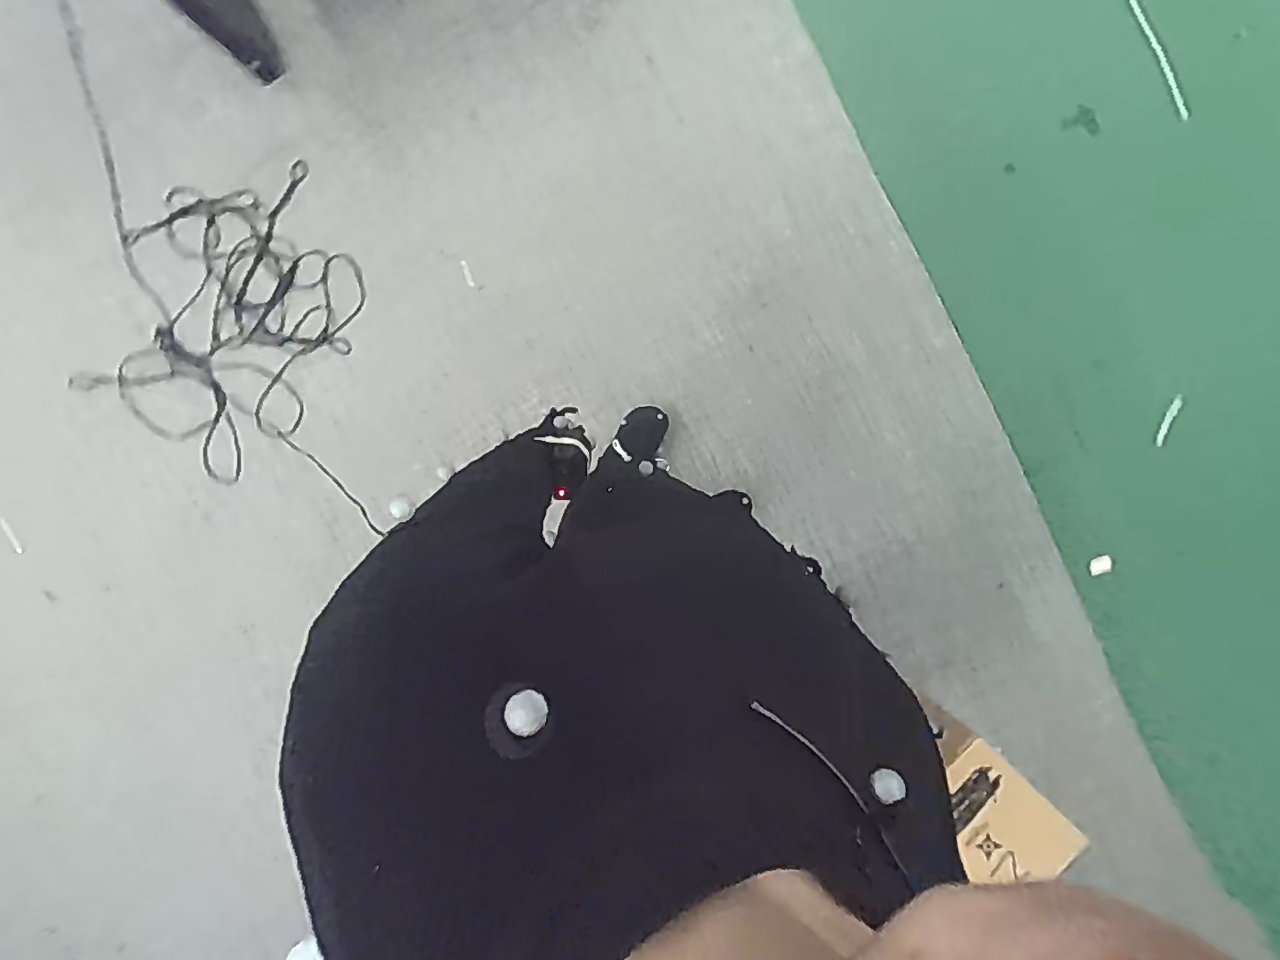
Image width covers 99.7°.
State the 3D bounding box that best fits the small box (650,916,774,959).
[{"bbox_3d":[0.116,0.744,0.731,0.168,0.176,0.179,-30,91,7],"label":"small box"}]
